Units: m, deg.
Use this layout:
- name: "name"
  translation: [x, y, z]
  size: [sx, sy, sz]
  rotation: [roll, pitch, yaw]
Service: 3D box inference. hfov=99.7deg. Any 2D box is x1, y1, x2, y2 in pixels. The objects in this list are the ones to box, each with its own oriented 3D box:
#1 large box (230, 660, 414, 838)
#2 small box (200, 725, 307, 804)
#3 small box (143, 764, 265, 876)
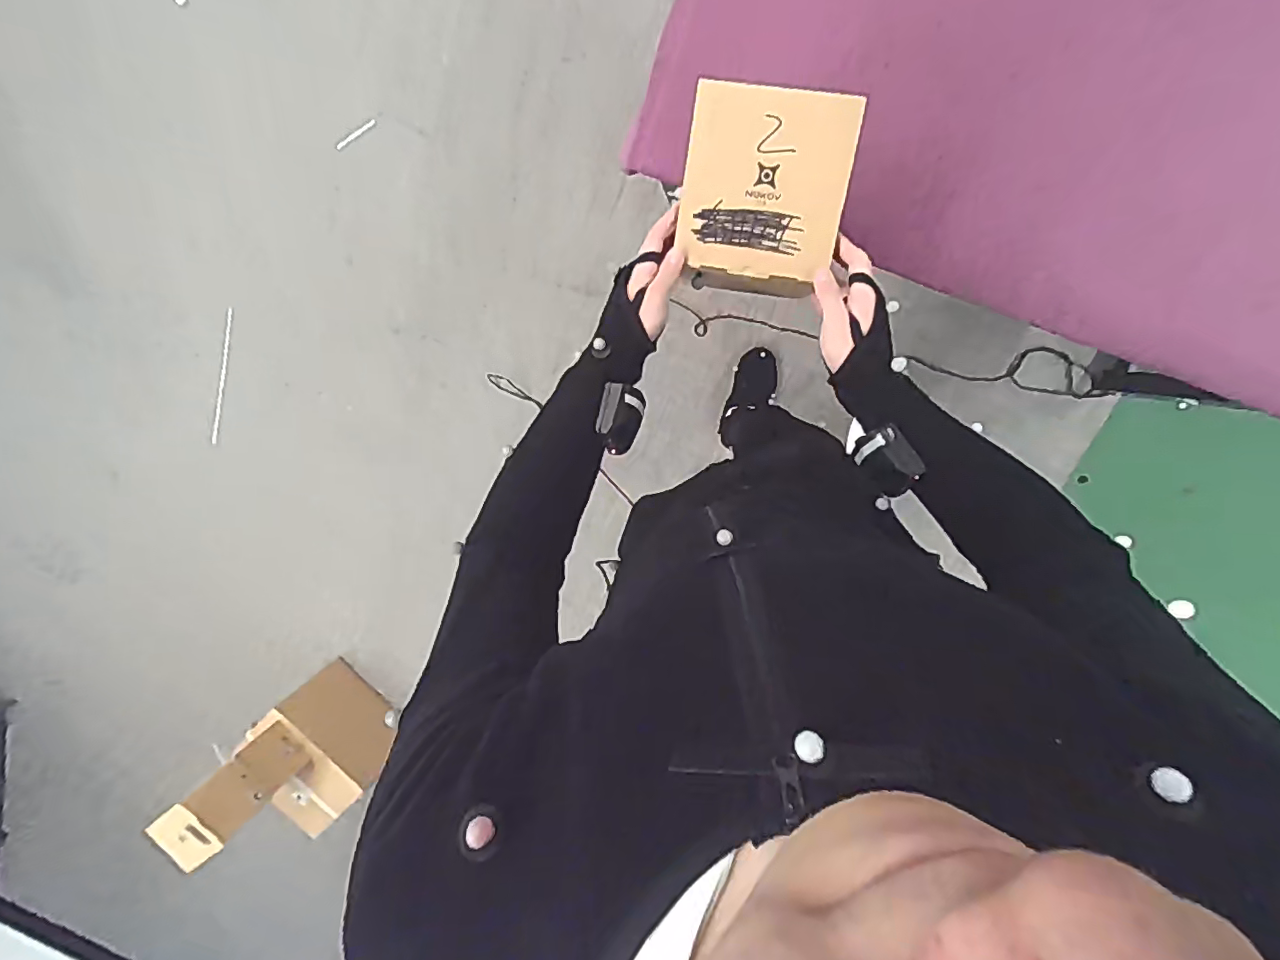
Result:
- name: "large box"
  translation: [-1.102, 0.928, 1.903]
  size: [0.408, 0.320, 0.320]
  rotation: [44, 106, -4]
- name: "small box"
  translation: [-1.173, 0.895, 1.651]
  size: [0.179, 0.176, 0.168]
  rotation: [-38, 96, 13]
- name: "small box"
  translation: [-1.189, 0.930, 1.492]
  size: [0.179, 0.176, 0.168]
  rotation: [-37, 96, 15]
